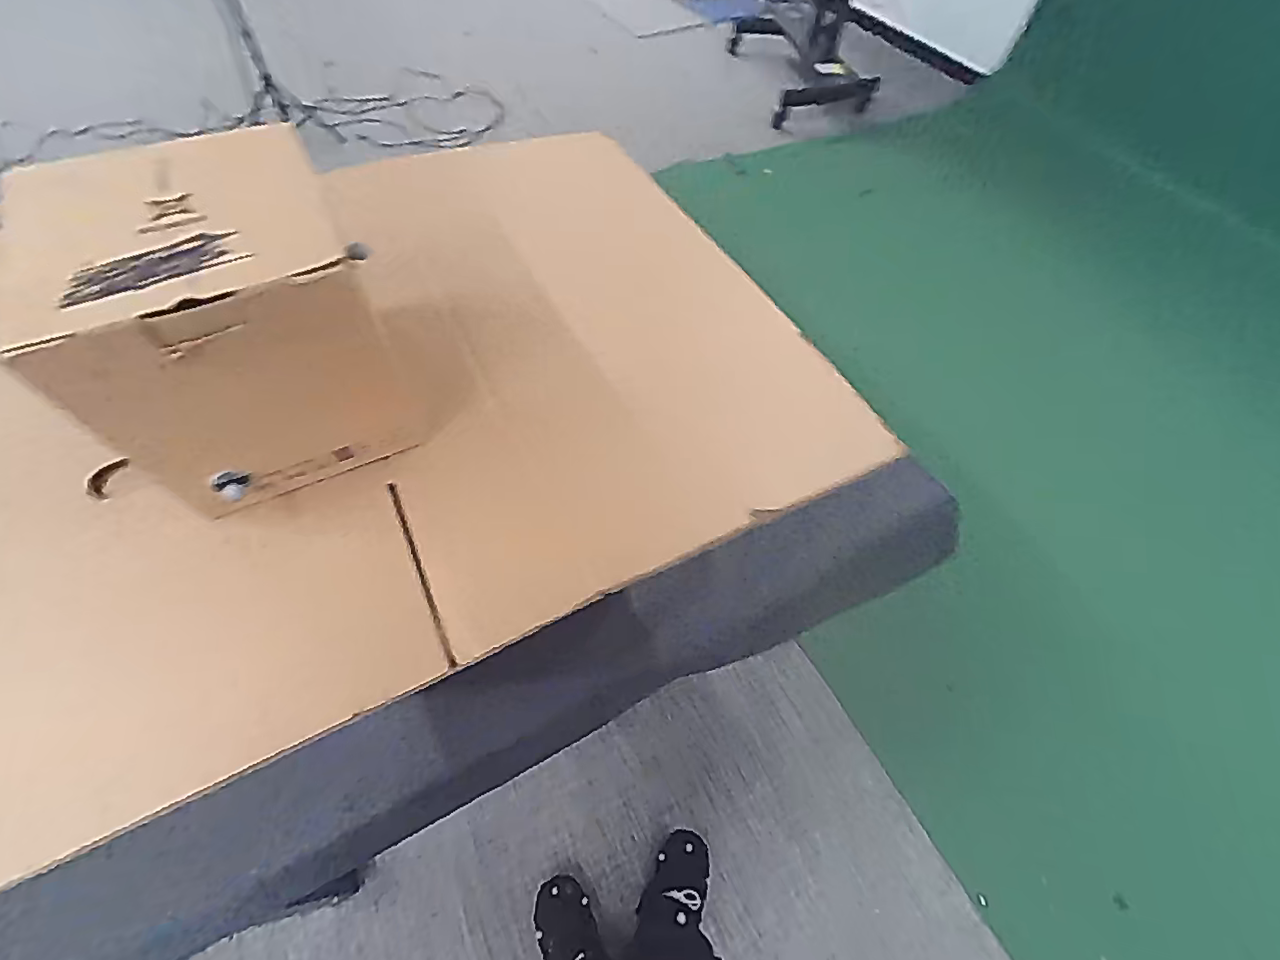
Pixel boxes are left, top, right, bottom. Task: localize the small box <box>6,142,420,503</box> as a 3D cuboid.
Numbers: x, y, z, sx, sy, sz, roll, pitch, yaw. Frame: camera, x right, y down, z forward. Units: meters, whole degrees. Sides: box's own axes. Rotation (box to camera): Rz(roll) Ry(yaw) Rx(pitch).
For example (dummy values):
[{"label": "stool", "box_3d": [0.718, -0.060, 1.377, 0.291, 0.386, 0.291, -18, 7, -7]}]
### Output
[{"label": "small box", "box_3d": [-0.283, -0.105, 0.395, 0.168, 0.176, 0.179, -23, 61, -17]}]
